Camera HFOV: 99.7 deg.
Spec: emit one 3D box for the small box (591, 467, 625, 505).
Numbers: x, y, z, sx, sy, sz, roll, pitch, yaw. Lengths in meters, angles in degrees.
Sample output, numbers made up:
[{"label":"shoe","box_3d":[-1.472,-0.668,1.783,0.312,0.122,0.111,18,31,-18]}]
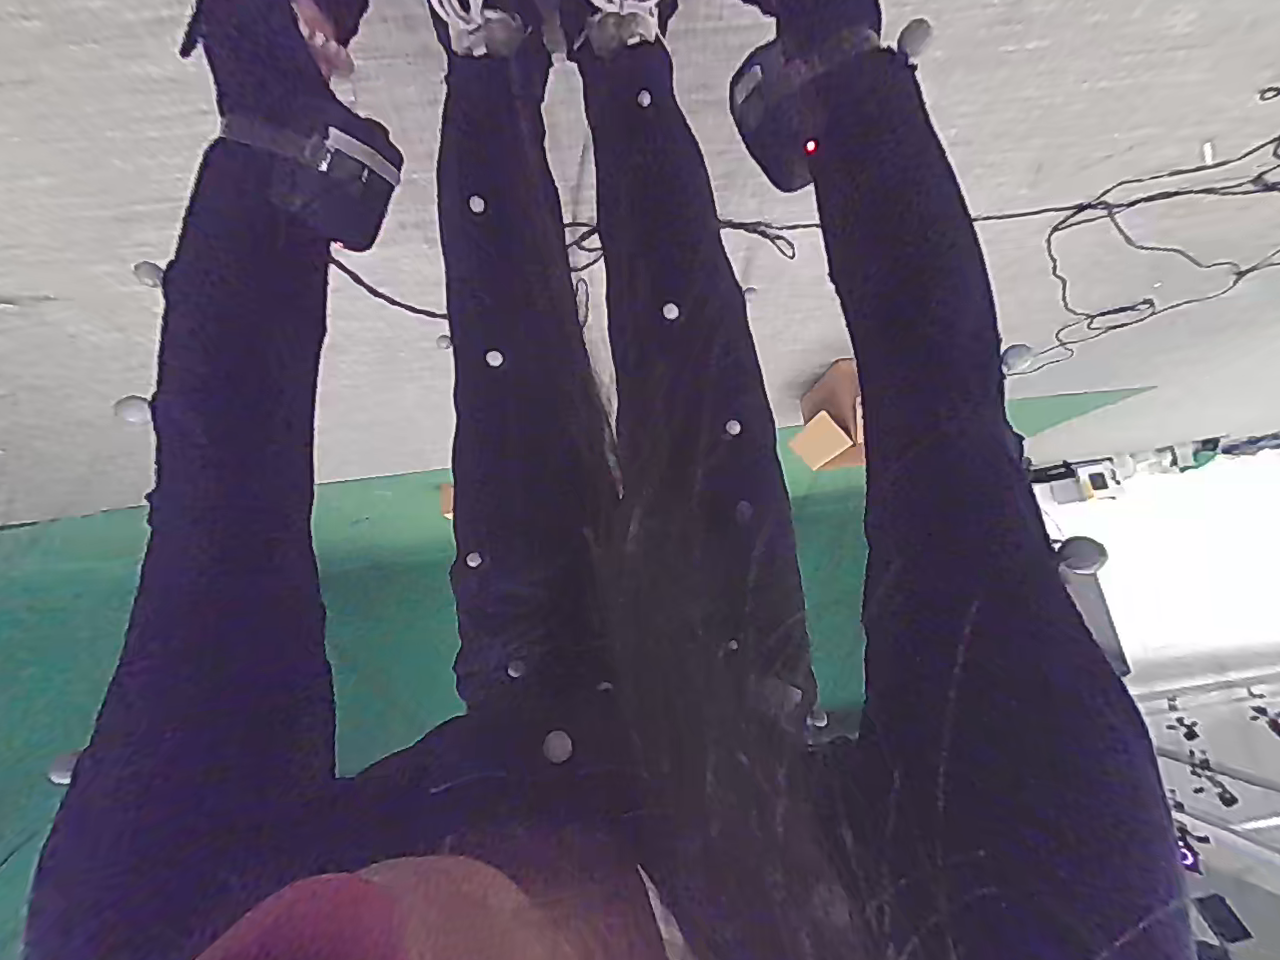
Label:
[{"label":"small box","box_3d":[-0.181,0.033,3.058,0.179,0.176,0.168,-9,169,-1]}]
